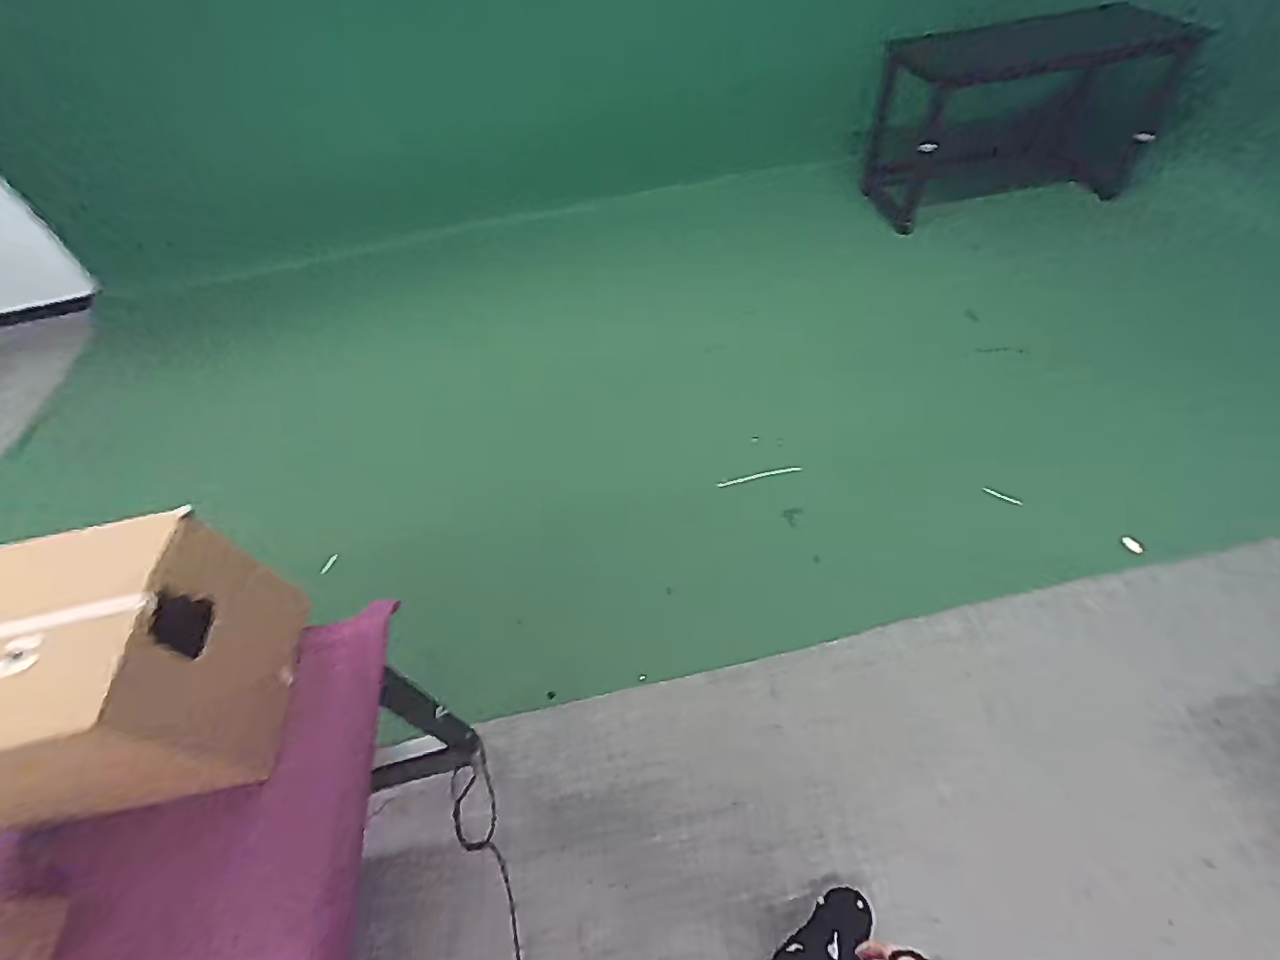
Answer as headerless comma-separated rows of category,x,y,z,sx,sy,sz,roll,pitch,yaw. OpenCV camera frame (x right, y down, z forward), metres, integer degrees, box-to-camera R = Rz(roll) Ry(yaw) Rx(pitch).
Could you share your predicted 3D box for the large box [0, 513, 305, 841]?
large box,-0.808,0.297,0.803,0.408,0.320,0.320,-12,52,-3
